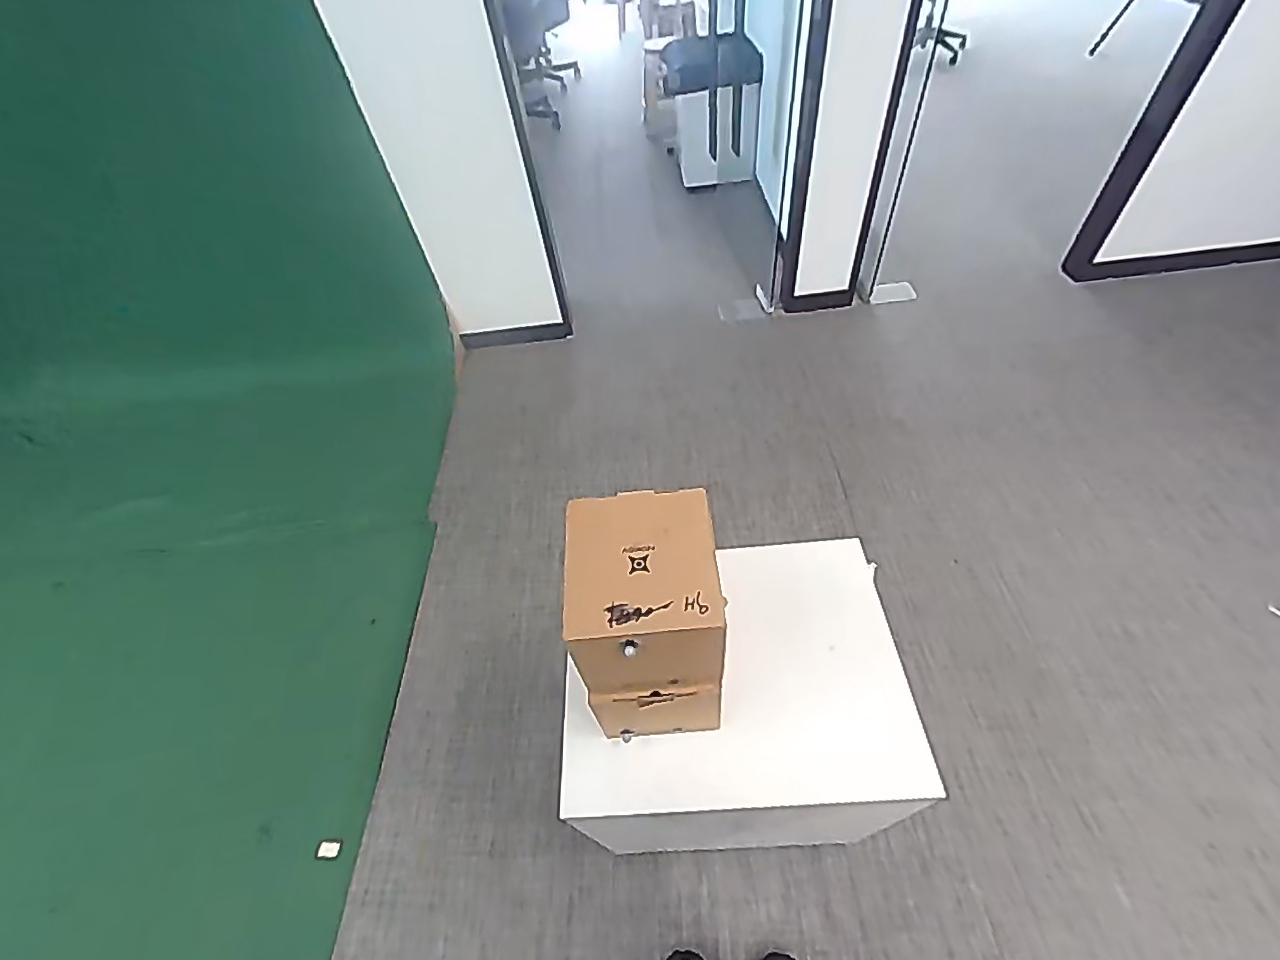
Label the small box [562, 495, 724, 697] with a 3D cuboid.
[{"bbox_3d":[0.006,0.142,0.654,0.168,0.176,0.179,-6,50,3],"label":"small box"}]

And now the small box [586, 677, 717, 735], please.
[{"bbox_3d":[0.019,0.253,0.773,0.168,0.176,0.179,-6,50,2],"label":"small box"}]
